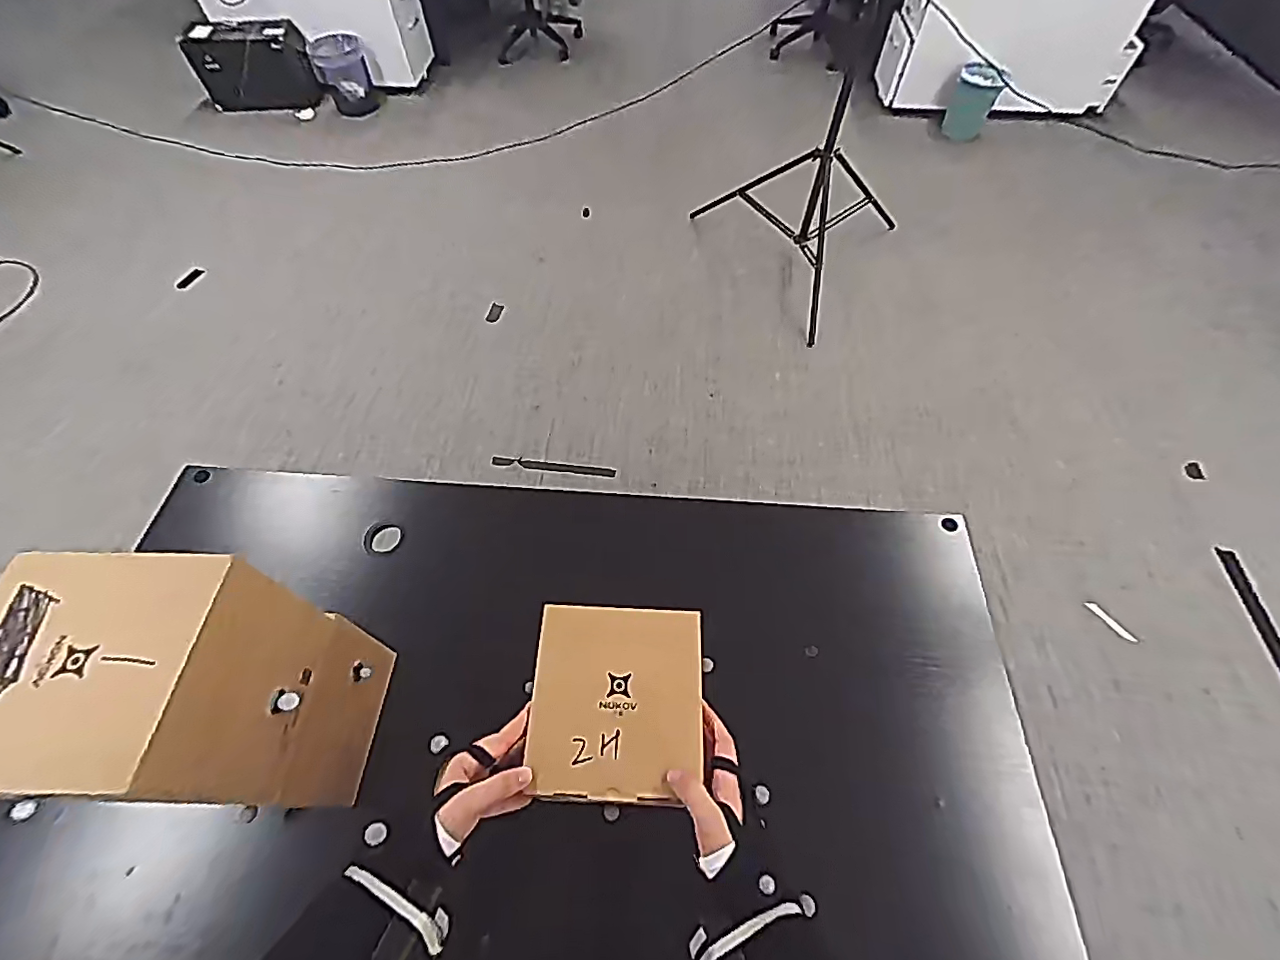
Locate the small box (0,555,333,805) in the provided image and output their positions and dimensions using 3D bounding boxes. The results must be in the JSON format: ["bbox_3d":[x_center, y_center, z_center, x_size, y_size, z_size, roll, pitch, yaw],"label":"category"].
[{"bbox_3d":[-0.403,0.173,0.454,0.179,0.176,0.168,1,57,0],"label":"small box"}]

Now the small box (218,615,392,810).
[{"bbox_3d":[-0.400,0.257,0.596,0.168,0.176,0.179,1,58,2],"label":"small box"}]
